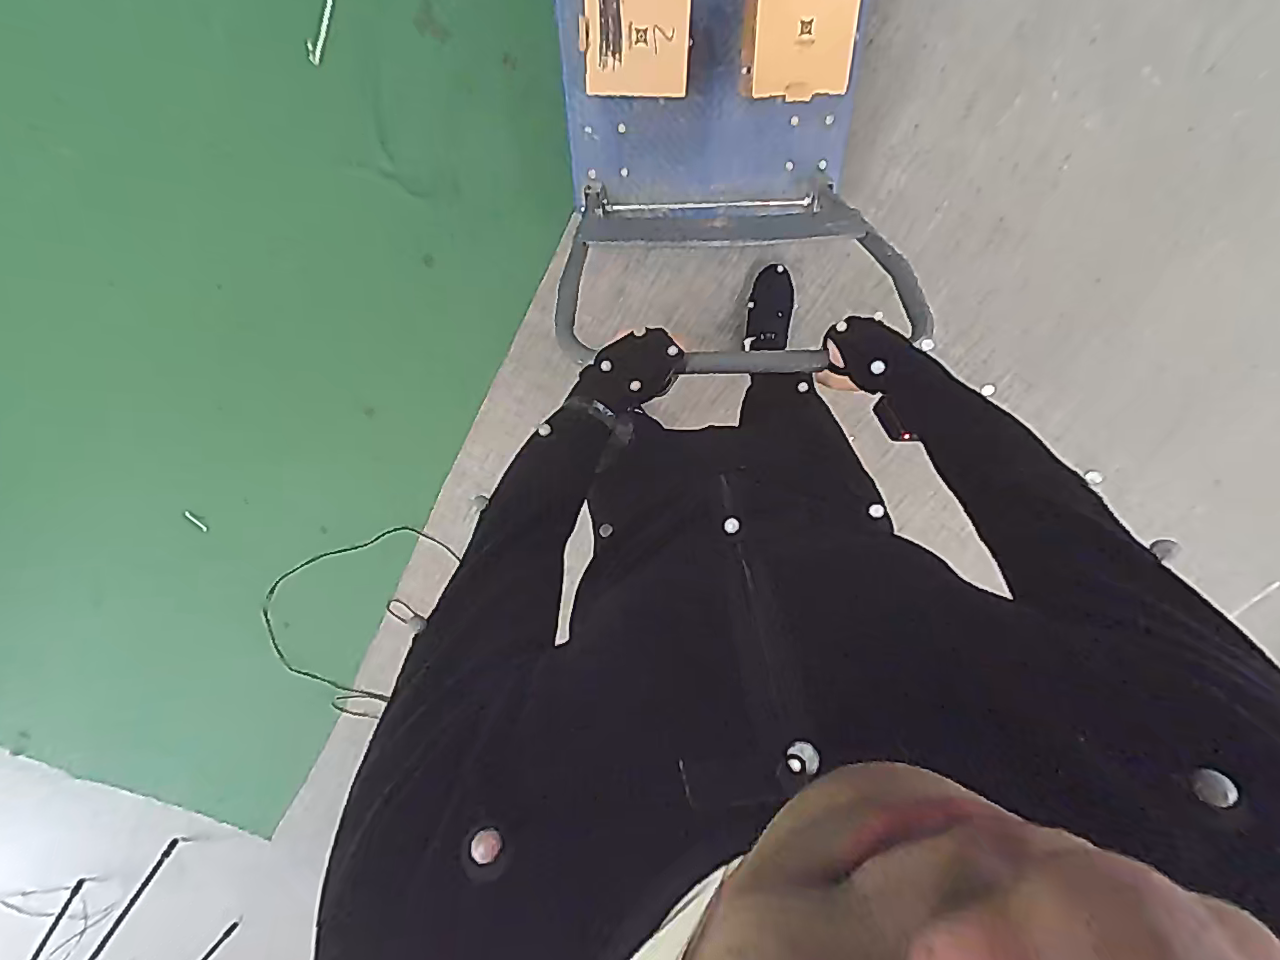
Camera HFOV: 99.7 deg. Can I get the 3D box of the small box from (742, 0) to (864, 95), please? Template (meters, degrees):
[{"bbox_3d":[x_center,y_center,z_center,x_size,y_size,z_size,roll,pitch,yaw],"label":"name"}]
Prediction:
[{"bbox_3d":[0.275,-0.783,0.942,0.168,0.176,0.179,-1,129,2],"label":"small box"}]
